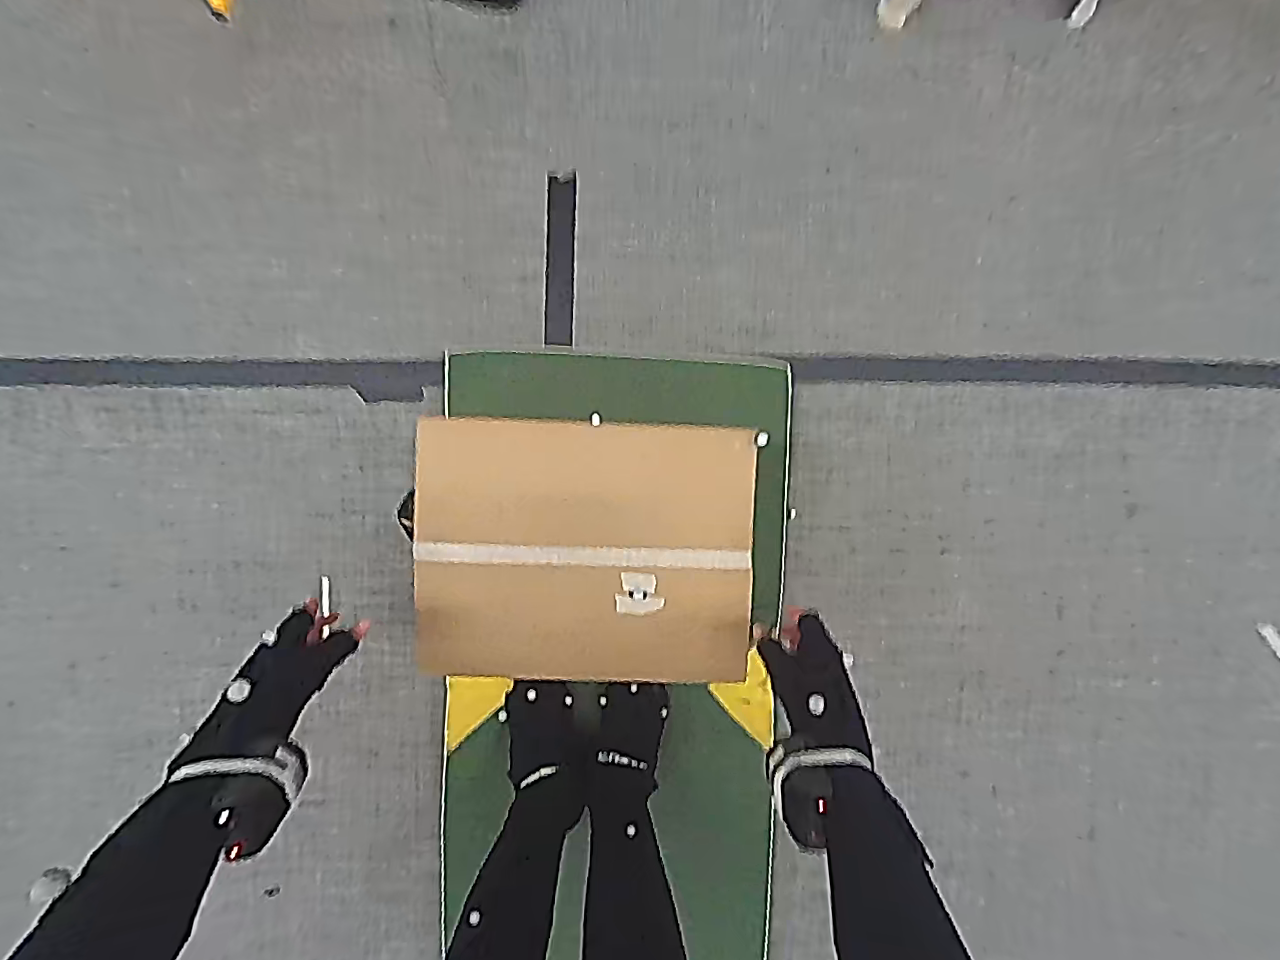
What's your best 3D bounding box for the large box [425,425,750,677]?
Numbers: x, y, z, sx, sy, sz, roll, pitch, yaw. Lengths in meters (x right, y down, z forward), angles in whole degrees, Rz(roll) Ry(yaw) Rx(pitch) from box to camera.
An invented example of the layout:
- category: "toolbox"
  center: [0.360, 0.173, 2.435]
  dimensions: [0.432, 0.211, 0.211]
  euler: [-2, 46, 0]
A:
- category: "large box"
  center: [-0.072, 0.086, 0.816]
  dimensions: [0.408, 0.320, 0.320]
  euler: [2, 93, -3]
